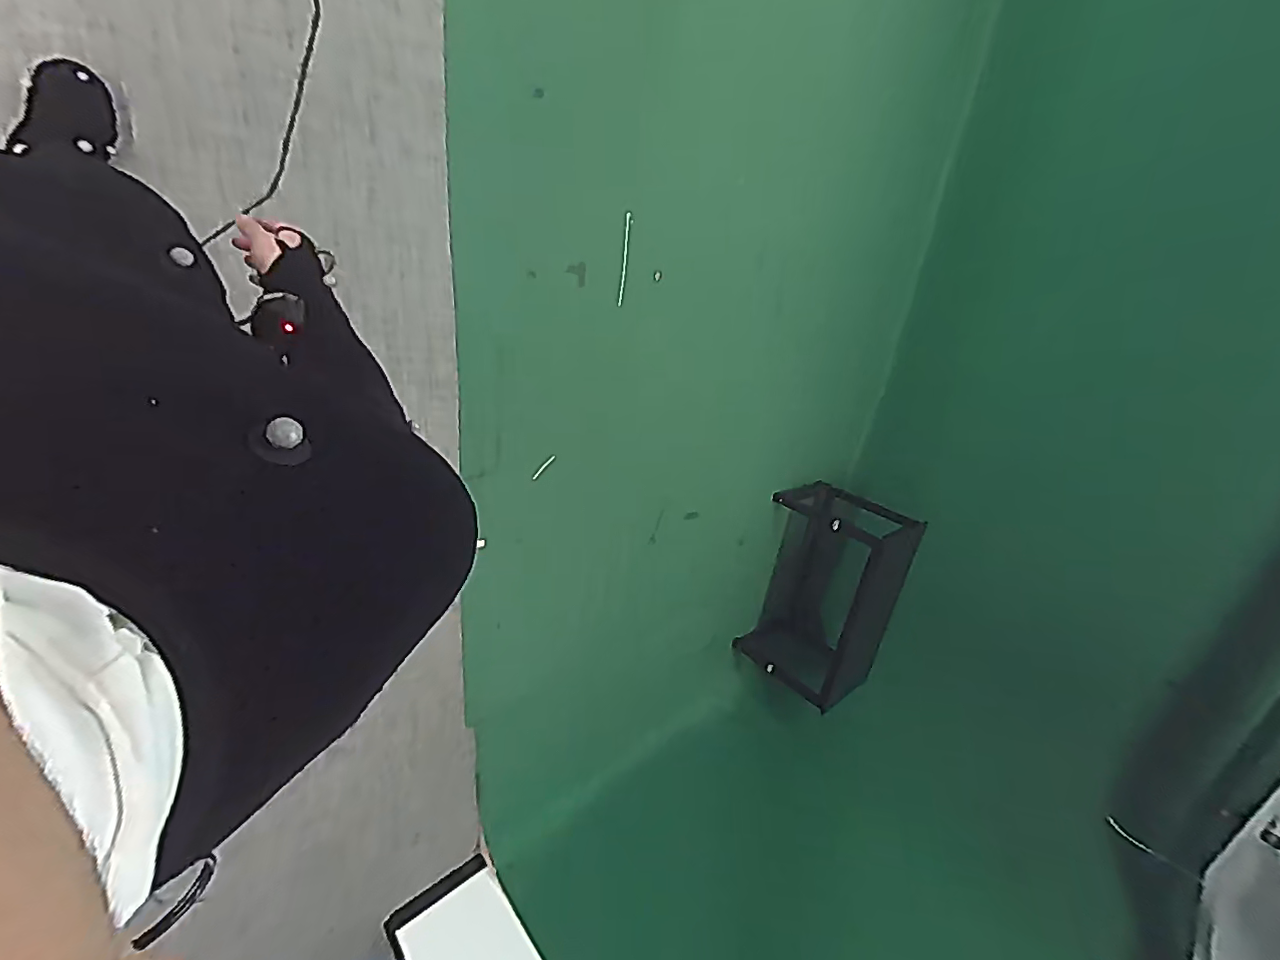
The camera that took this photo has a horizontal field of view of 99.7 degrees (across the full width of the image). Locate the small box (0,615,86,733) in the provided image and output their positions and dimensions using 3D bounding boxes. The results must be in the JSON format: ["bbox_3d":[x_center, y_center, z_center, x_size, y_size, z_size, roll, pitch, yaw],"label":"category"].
[{"bbox_3d":[-1.380,0.429,1.205,0.179,0.176,0.168,-14,122,-41],"label":"small box"}]

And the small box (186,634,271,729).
[{"bbox_3d":[-1.153,0.562,1.512,0.179,0.176,0.168,-5,116,-44],"label":"small box"}]
